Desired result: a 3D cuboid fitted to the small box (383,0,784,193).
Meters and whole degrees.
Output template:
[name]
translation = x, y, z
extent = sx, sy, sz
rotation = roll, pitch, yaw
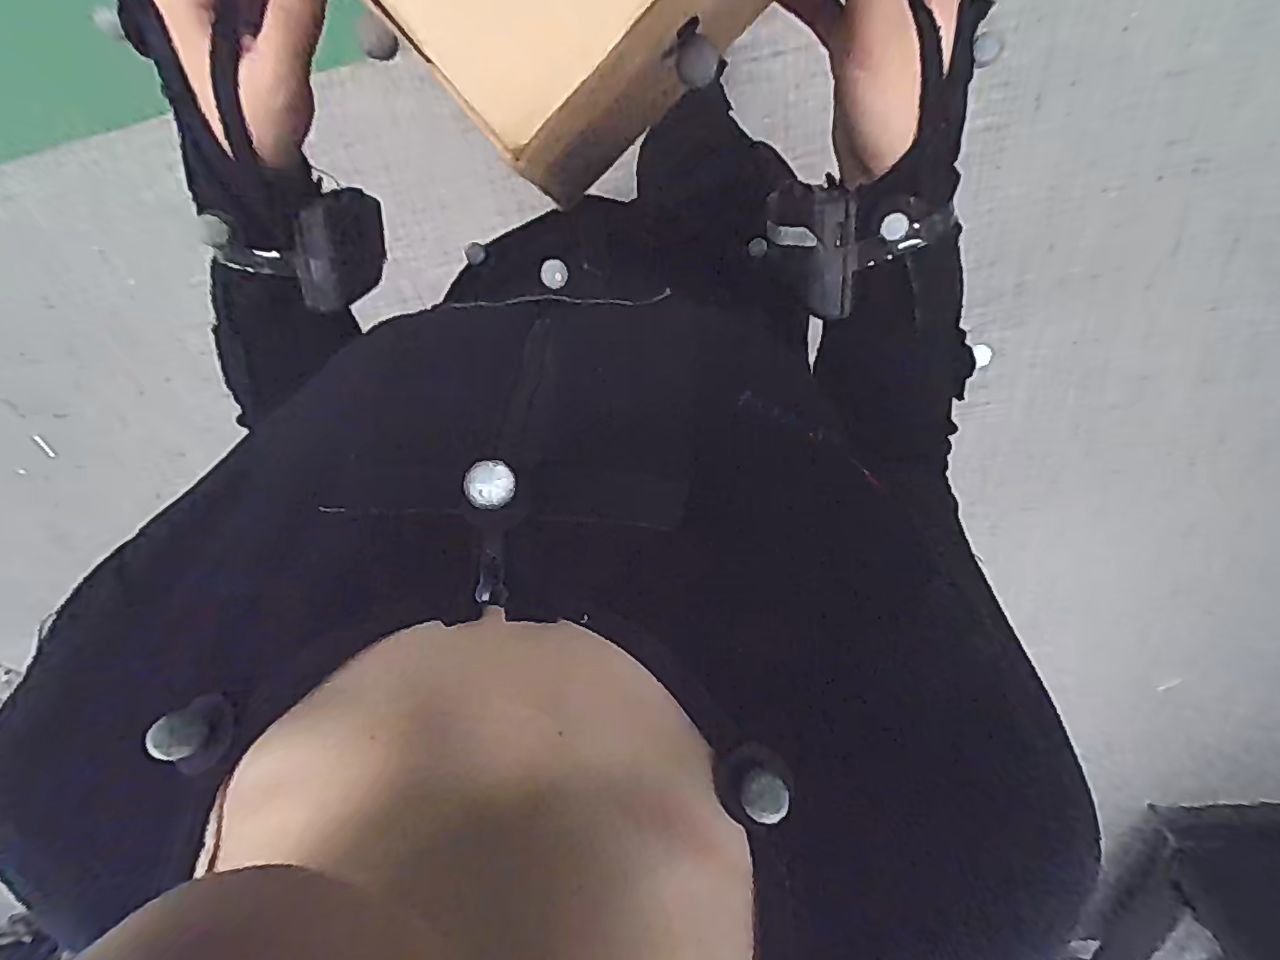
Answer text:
[small box]
translation = -0.021, -0.231, 0.188
extent = 0.179, 0.176, 0.168
rotation = -40, 109, 13
